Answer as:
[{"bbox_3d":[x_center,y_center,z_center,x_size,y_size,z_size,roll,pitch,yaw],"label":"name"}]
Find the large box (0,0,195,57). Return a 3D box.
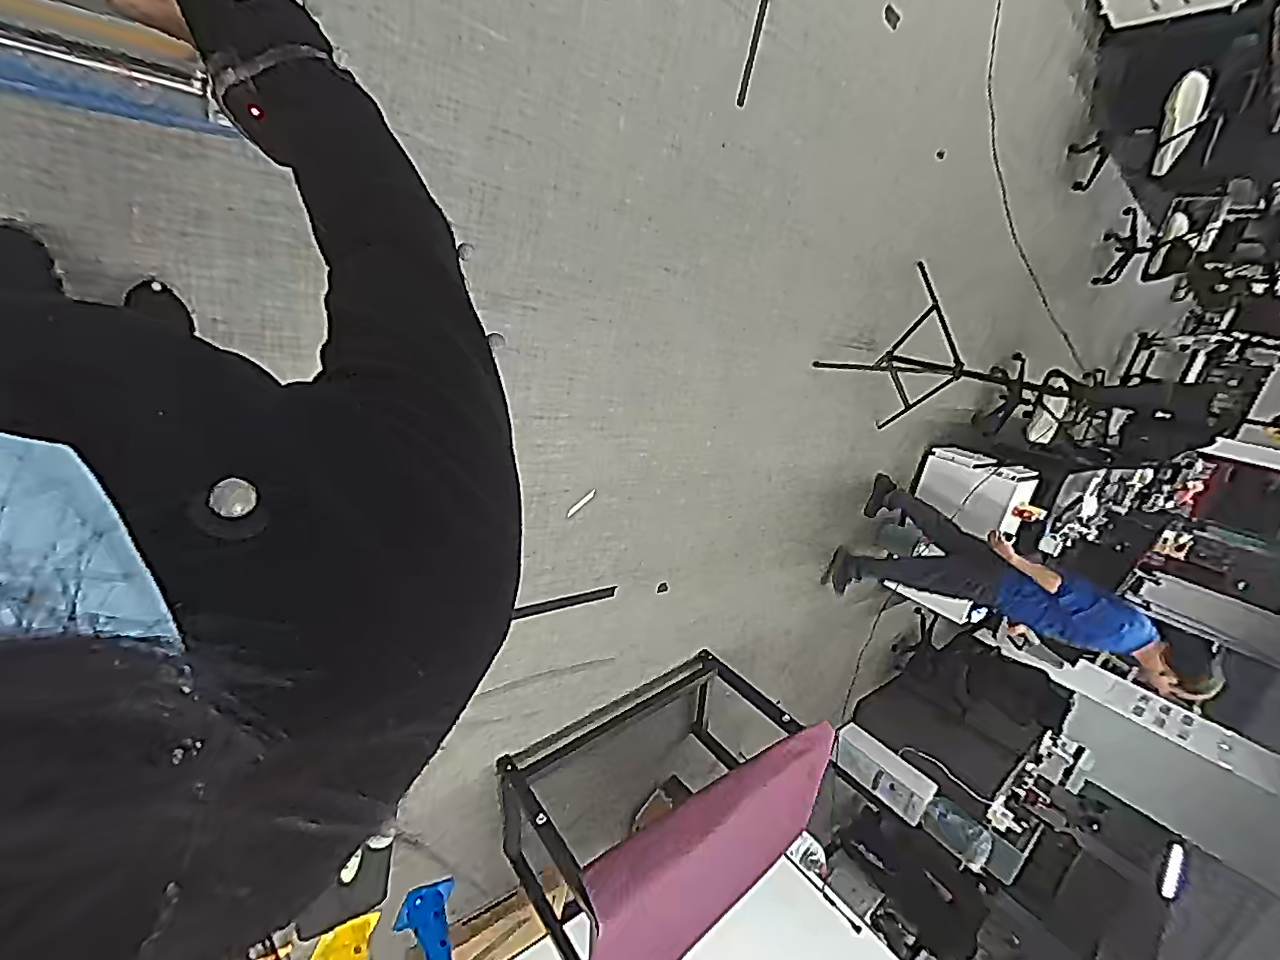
[{"bbox_3d":[-0.773,-0.742,0.589,0.408,0.320,0.320,-9,116,-40],"label":"large box"}]
